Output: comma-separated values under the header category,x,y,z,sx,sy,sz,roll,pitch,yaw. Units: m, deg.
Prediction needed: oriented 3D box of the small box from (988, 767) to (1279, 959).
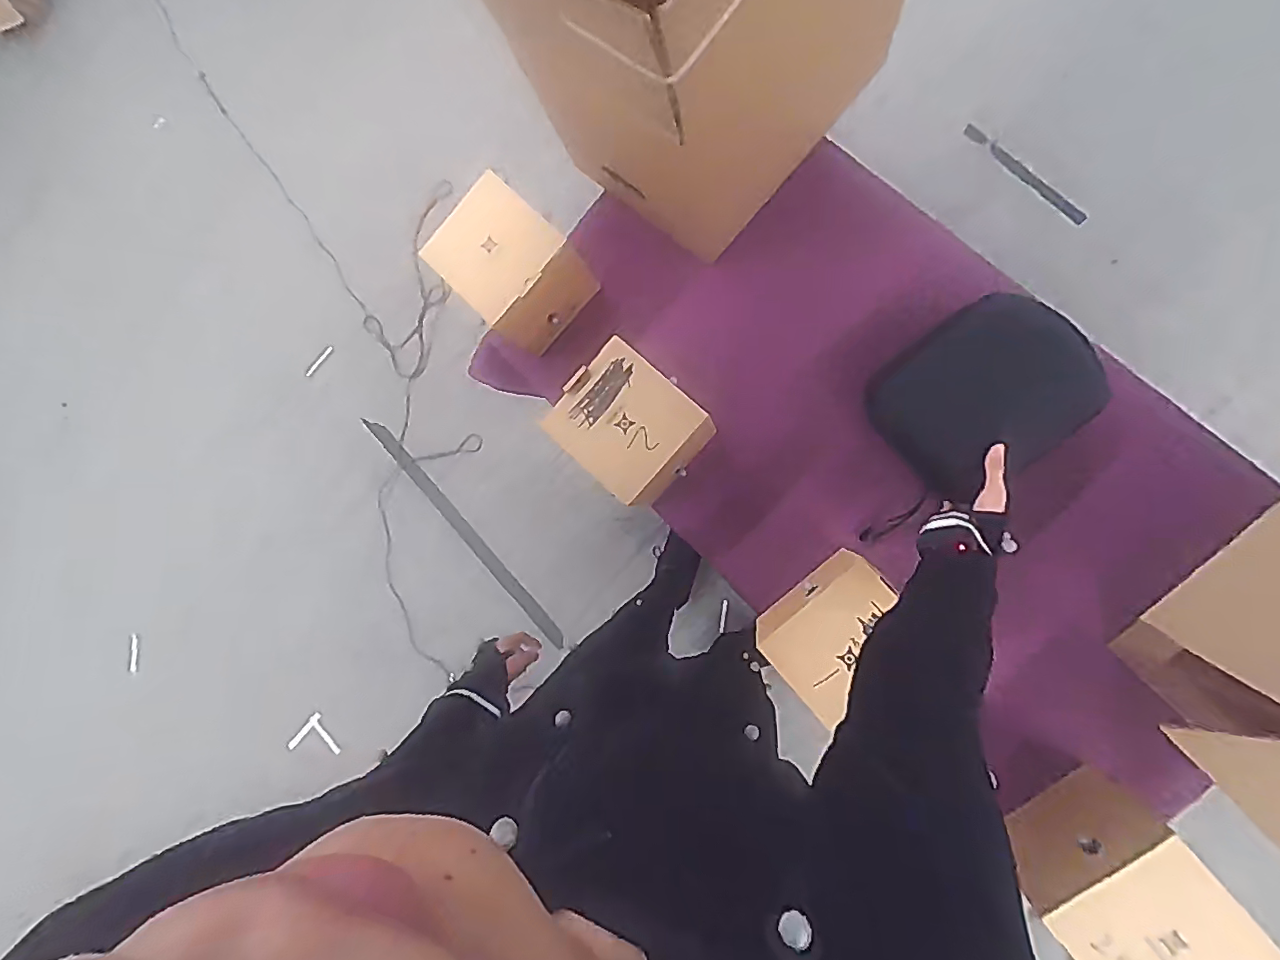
category,x,y,z,sx,sy,sz,roll,pitch,yaw
small box,0.578,0.493,0.658,0.179,0.176,0.168,-39,79,8

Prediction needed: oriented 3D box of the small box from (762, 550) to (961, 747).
category,x,y,z,sx,sy,sz,roll,pitch,yaw
small box,0.282,0.212,0.737,0.179,0.176,0.168,-42,80,8

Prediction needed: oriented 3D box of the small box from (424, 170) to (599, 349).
category,x,y,z,sx,sy,sz,roll,pitch,yaw
small box,-0.194,-0.336,0.863,0.179,0.176,0.168,44,97,9
